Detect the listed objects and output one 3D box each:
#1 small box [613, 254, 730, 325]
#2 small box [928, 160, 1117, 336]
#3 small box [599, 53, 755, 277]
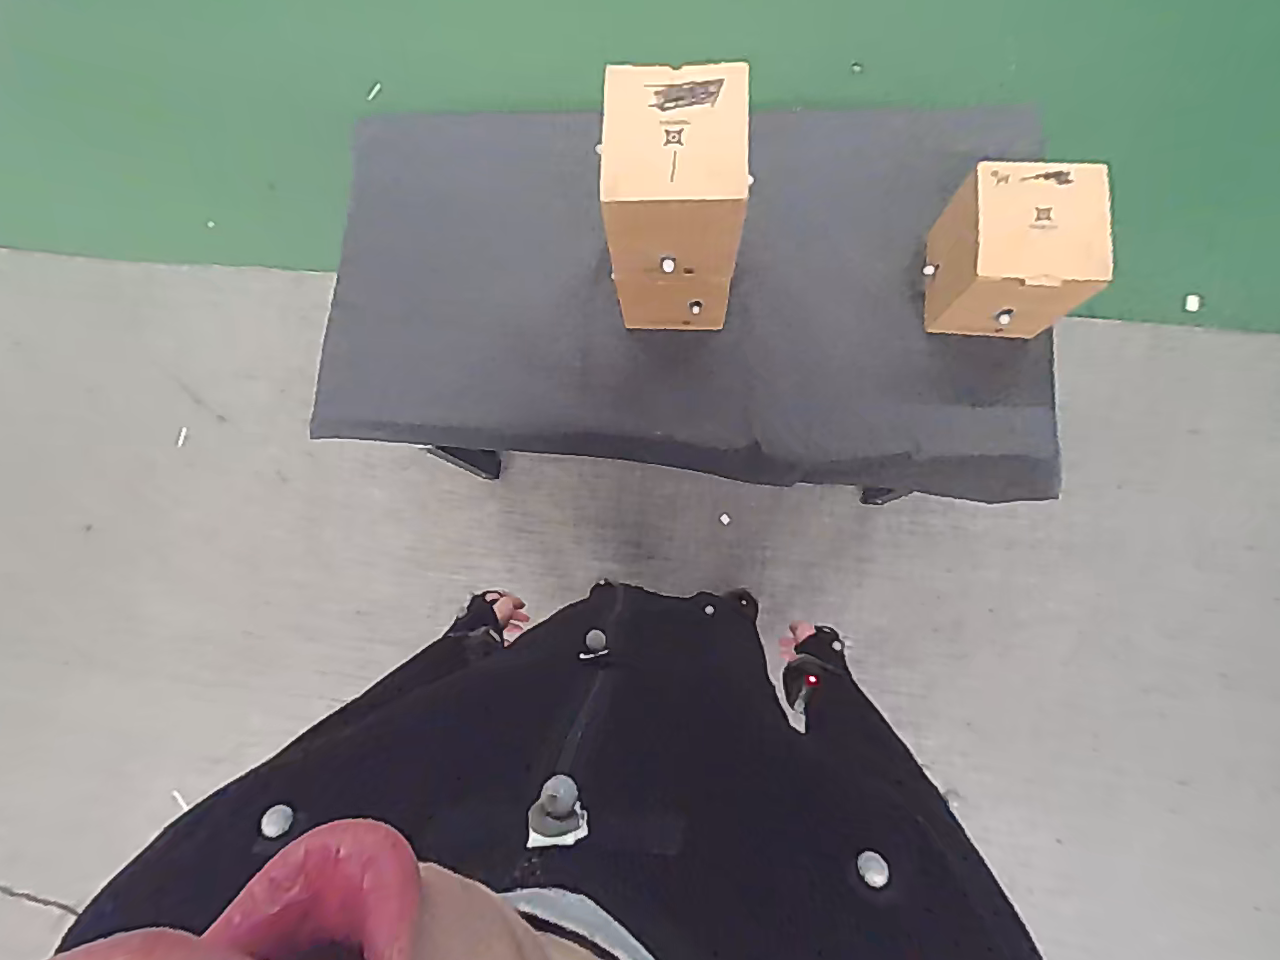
[{"bbox_3d":[0.054,-0.352,0.829,0.168,0.176,0.179,3,80,4],"label":"small box"},{"bbox_3d":[0.538,-0.325,0.783,0.168,0.176,0.179,6,81,6],"label":"small box"},{"bbox_3d":[0.045,-0.377,0.667,0.168,0.176,0.179,2,82,4],"label":"small box"}]
